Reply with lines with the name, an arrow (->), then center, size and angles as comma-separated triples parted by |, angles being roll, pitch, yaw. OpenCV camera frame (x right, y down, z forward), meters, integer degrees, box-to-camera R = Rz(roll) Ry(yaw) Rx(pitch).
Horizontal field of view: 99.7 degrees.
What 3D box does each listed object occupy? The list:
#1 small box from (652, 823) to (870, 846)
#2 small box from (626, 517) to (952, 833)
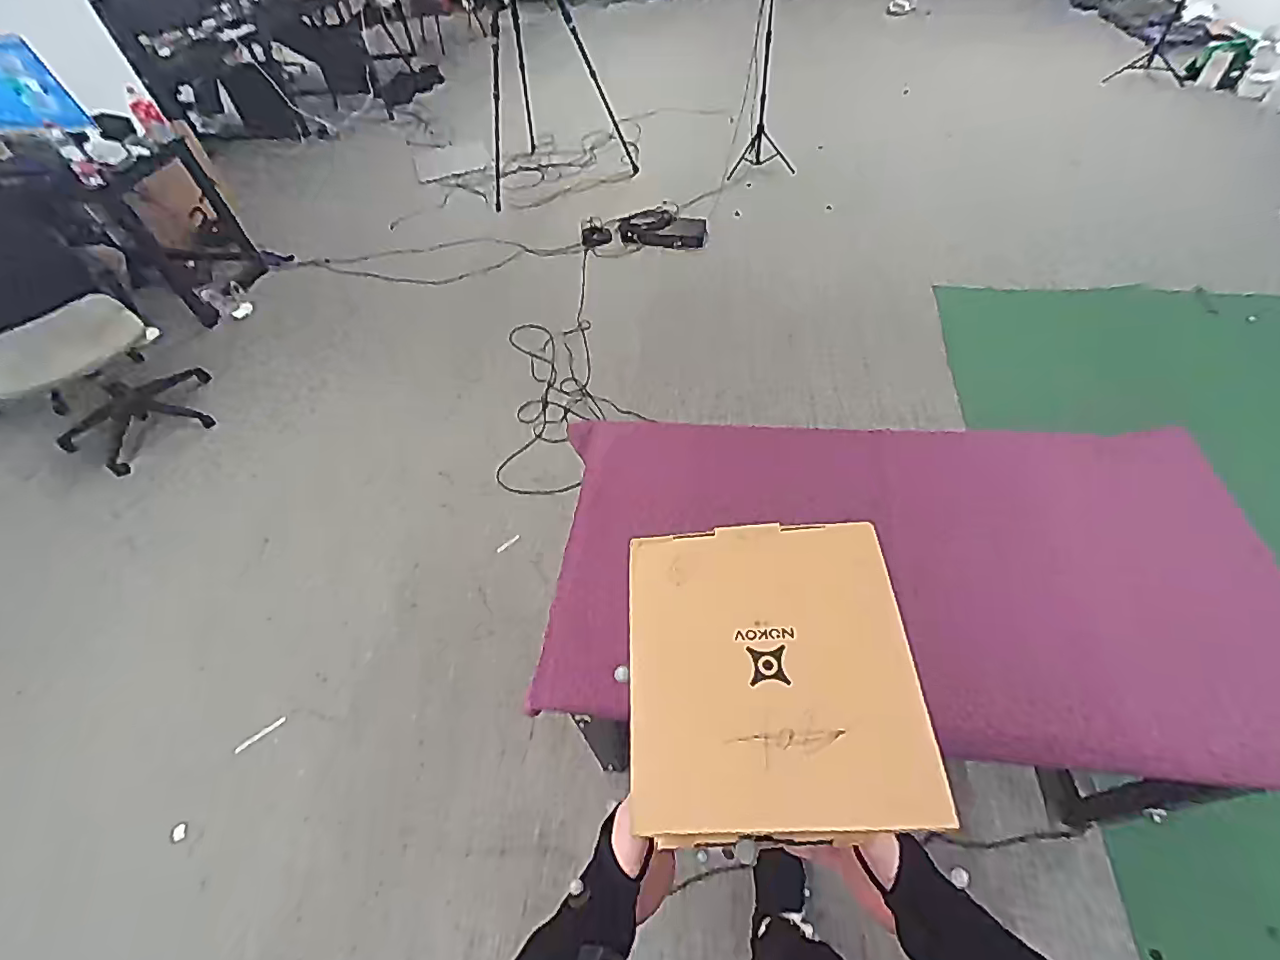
small box -> 0.101, 0.242, 0.516 | 0.168, 0.176, 0.179 | -5, 55, 5
small box -> 0.083, 0.145, 0.386 | 0.168, 0.176, 0.179 | -5, 57, 6
